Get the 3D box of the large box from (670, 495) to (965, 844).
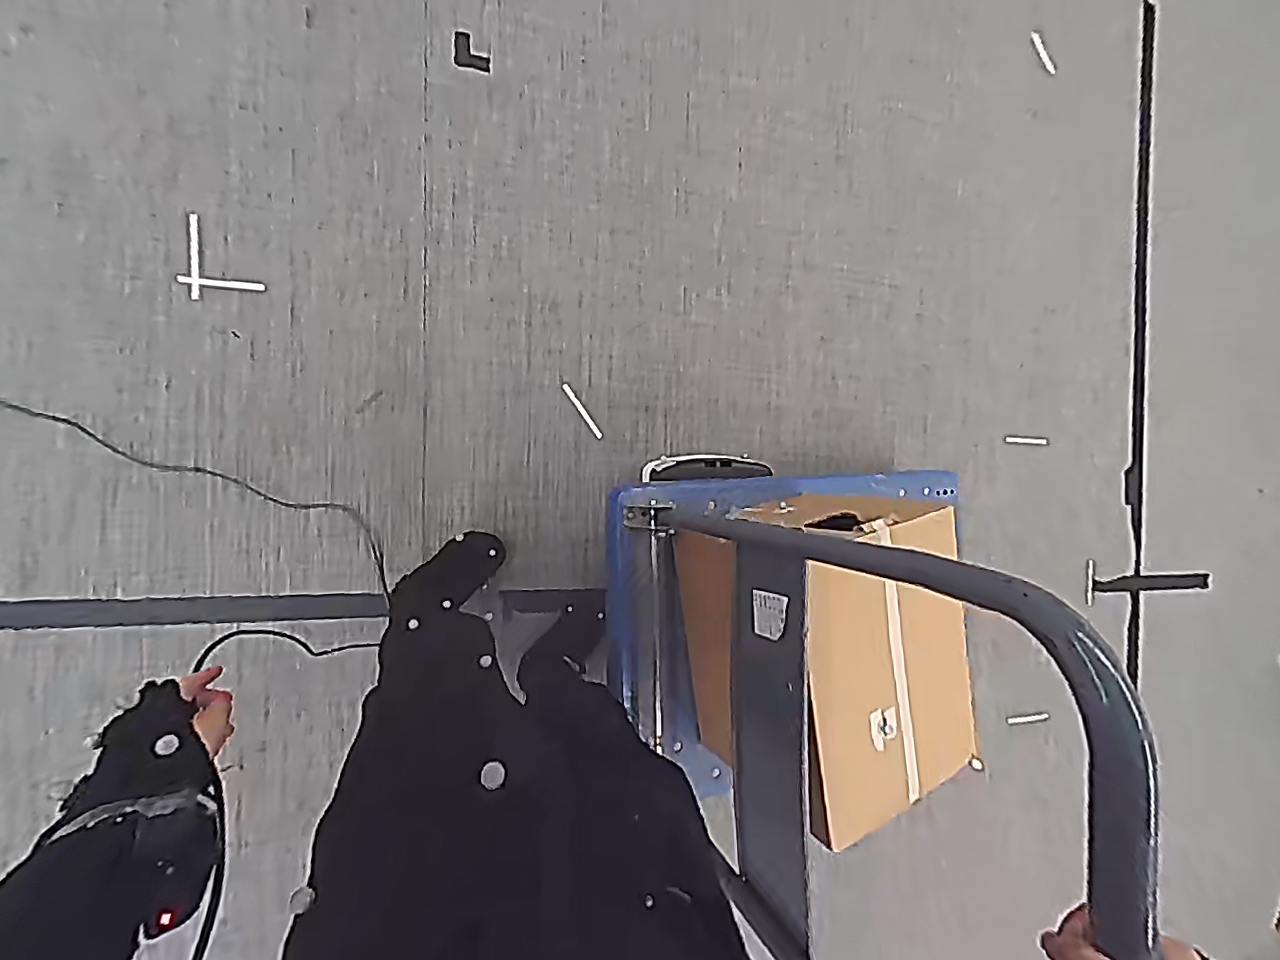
[{"bbox_3d":[0.279,0.257,0.891,0.320,0.320,0.408,-12,97,-26],"label":"large box"}]
